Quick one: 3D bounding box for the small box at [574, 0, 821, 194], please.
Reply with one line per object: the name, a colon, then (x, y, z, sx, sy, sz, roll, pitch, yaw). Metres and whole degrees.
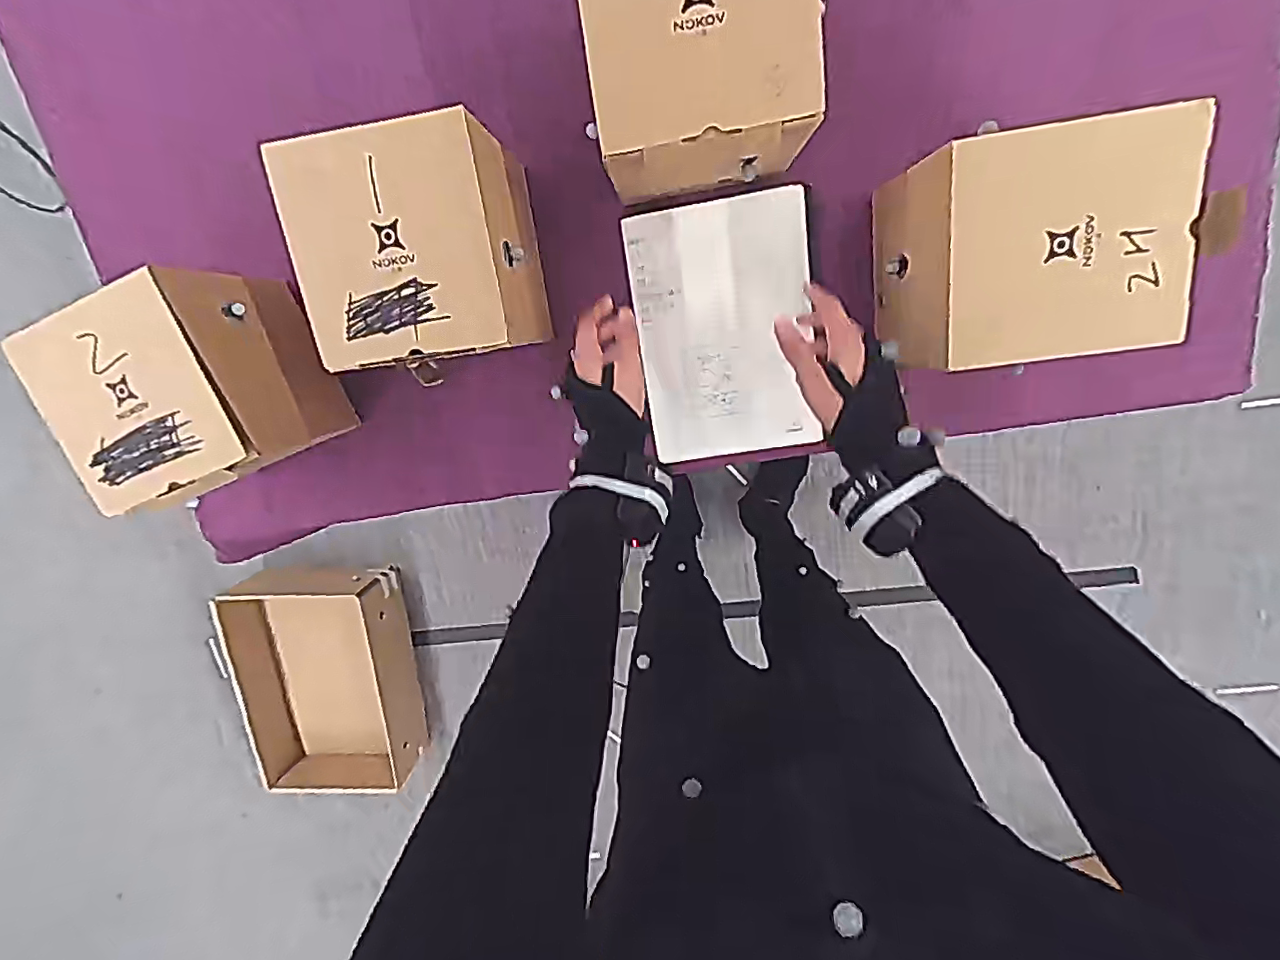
small box: (0.042, -0.351, 0.443, 0.168, 0.176, 0.179, -7, 105, 5)

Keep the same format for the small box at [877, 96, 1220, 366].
small box: (0.318, -0.193, 0.467, 0.179, 0.176, 0.168, -6, 106, 5)

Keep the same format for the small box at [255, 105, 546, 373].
small box: (-0.194, -0.203, 0.498, 0.168, 0.176, 0.179, -7, 105, 5)
